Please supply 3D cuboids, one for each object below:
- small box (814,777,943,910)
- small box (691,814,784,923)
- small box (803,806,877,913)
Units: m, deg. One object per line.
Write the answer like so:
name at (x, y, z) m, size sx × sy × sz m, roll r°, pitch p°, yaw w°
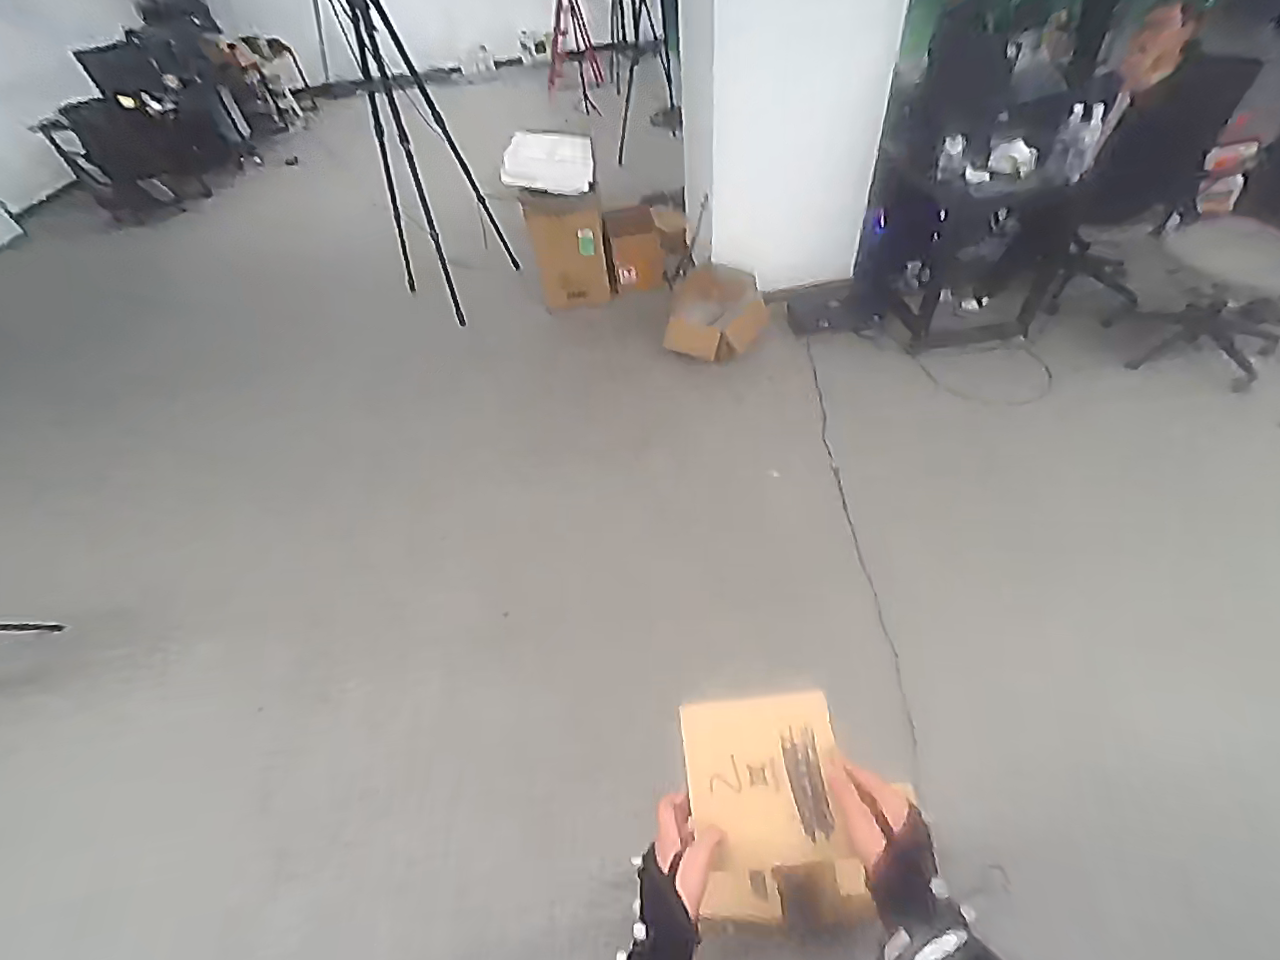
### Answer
small box at (0.428, 0.676, 1.008) m, size 0.168 × 0.176 × 0.179 m, roll -2°, pitch 46°, yaw 6°
small box at (0.196, 0.814, 1.132) m, size 0.179 × 0.176 × 0.168 m, roll -2°, pitch 47°, yaw 6°
small box at (0.448, 0.787, 1.129) m, size 0.179 × 0.176 × 0.168 m, roll -8°, pitch 47°, yaw 2°
